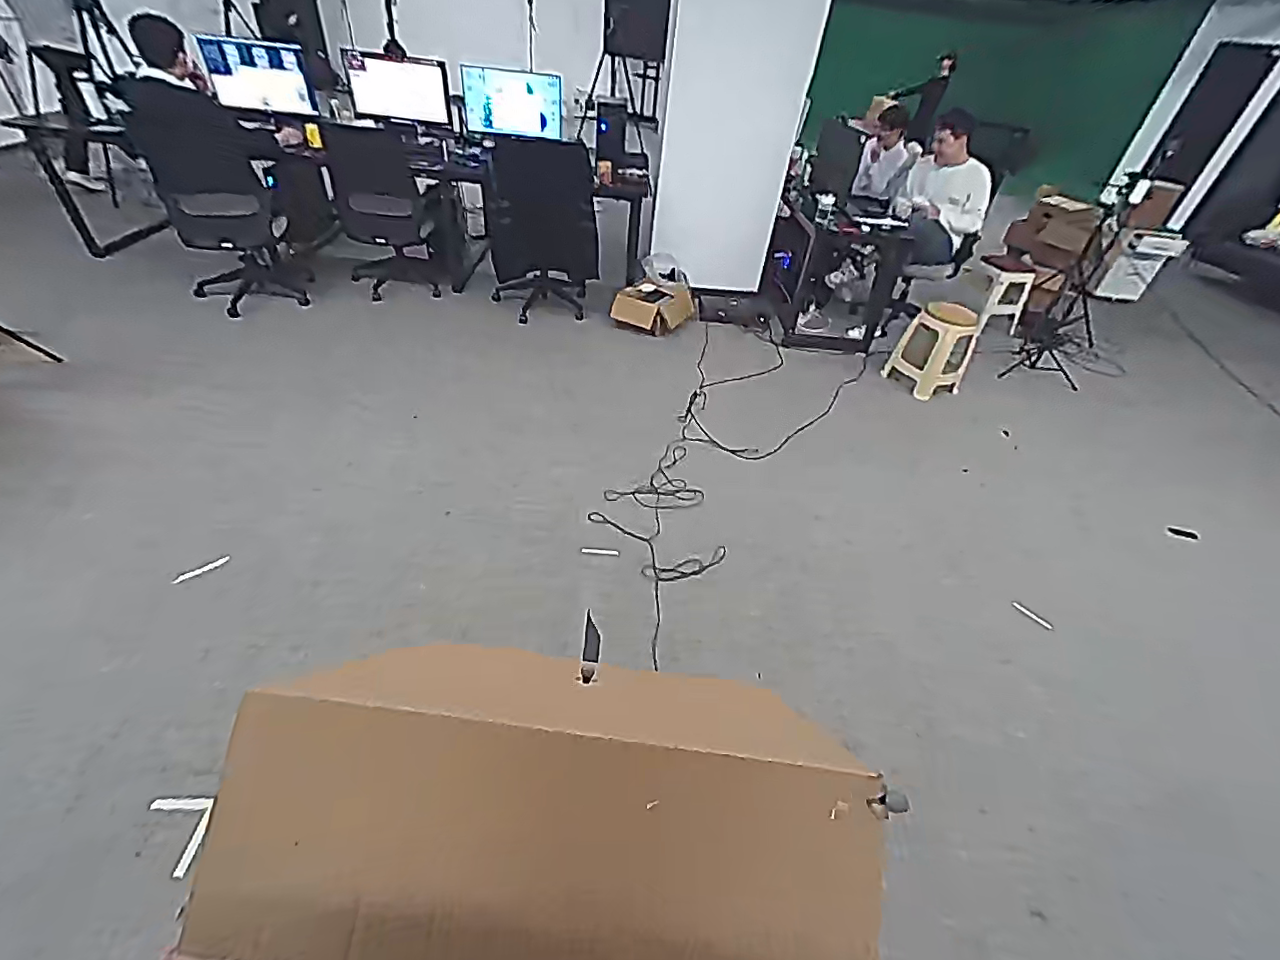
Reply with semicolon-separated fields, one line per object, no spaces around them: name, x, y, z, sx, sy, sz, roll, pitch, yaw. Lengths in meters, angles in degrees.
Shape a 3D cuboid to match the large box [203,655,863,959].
large box;-0.070;0.342;0.468;0.408;0.320;0.320;7;80;1
